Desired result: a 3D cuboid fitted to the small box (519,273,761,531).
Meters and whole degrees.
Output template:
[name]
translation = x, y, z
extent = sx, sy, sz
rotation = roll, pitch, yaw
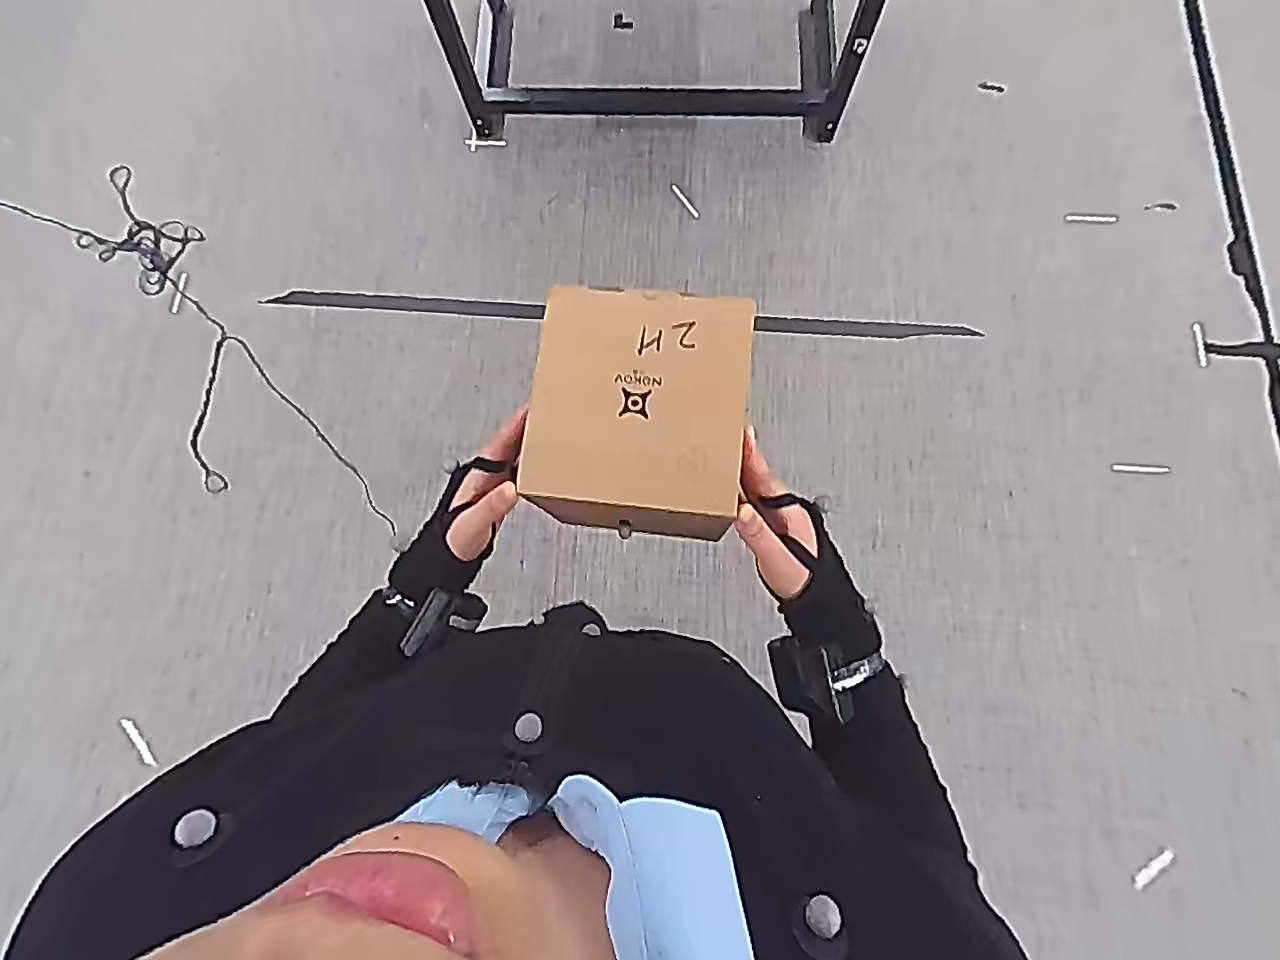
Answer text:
[small box]
translation = 0.007, -0.055, 0.480
extent = 0.168, 0.176, 0.179
rotation = 6, 78, 5
